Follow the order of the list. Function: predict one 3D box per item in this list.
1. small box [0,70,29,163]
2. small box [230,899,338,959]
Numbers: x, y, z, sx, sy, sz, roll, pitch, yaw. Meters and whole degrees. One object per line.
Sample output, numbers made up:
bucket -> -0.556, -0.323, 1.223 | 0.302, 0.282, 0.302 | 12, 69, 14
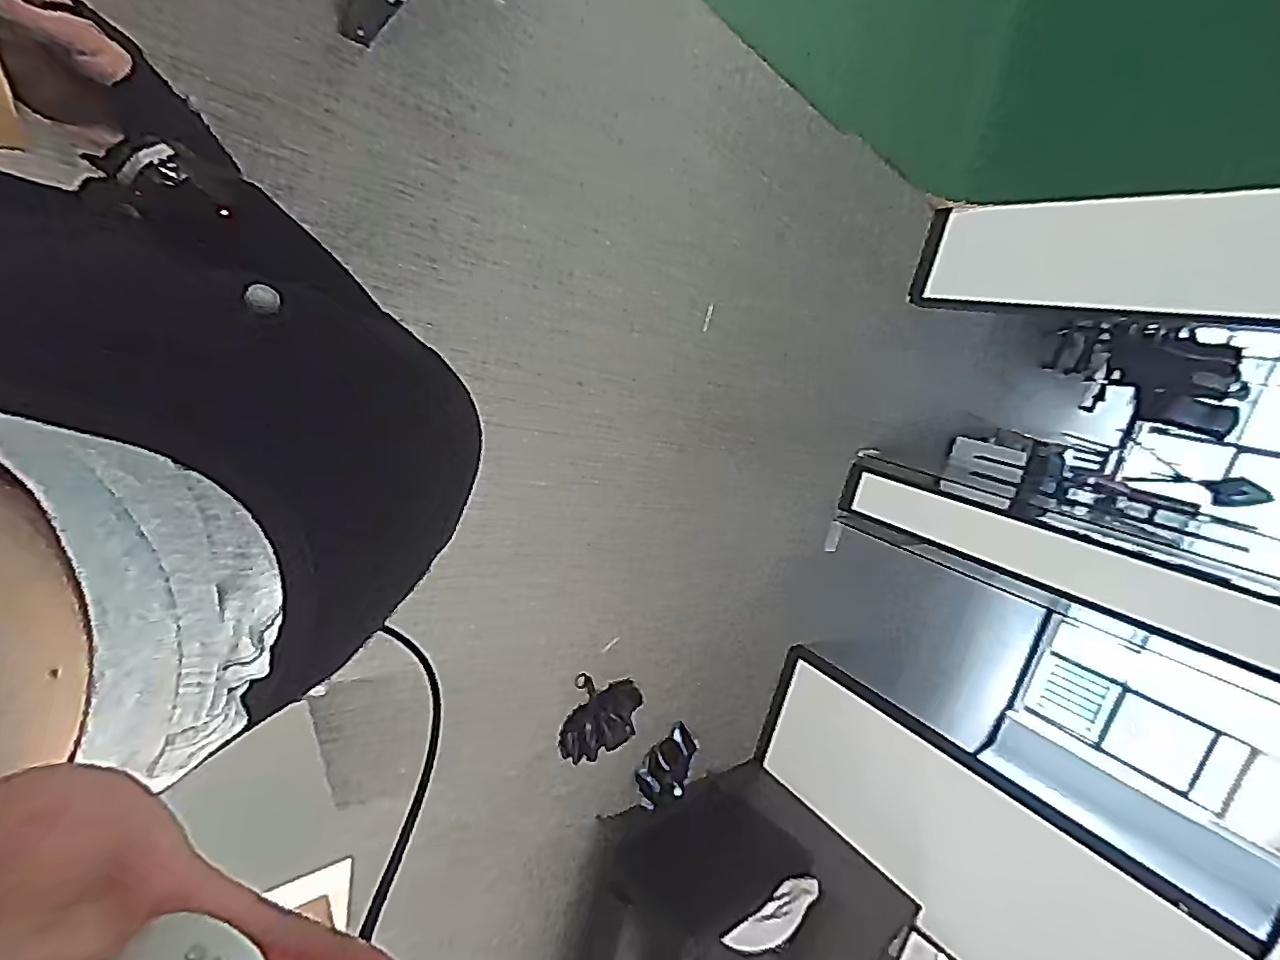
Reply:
small box -> -0.449, -0.274, 0.259 | 0.168, 0.176, 0.179 | -19, 134, -40
small box -> -0.686, 0.975, 1.044 | 0.168, 0.176, 0.179 | -2, 111, -39
